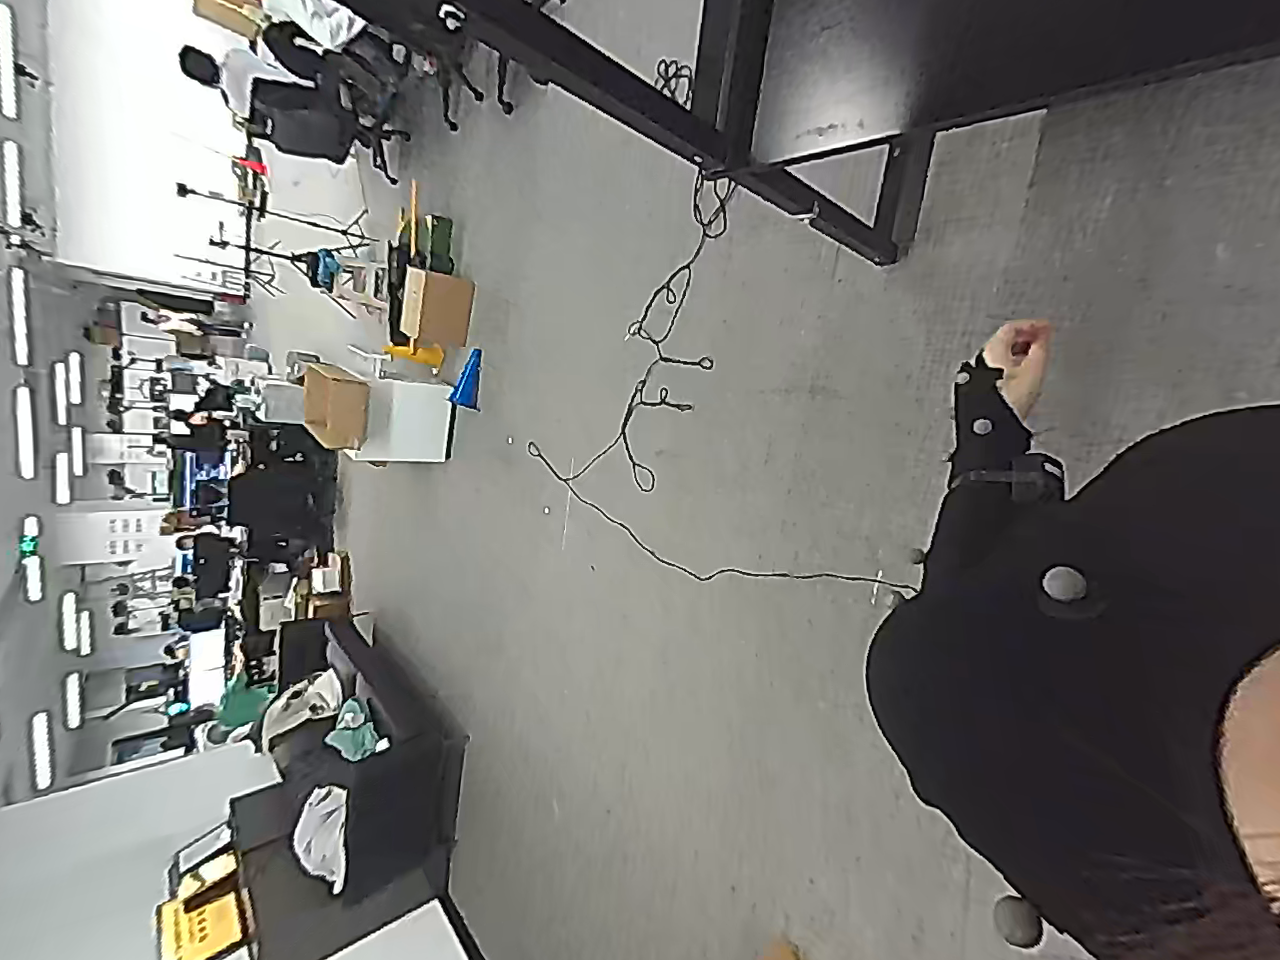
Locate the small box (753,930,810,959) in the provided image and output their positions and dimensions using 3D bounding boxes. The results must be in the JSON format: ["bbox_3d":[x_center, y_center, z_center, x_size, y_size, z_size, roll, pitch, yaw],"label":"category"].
[{"bbox_3d":[0.444,1.592,1.704,0.168,0.176,0.179,32,113,42],"label":"small box"}]
